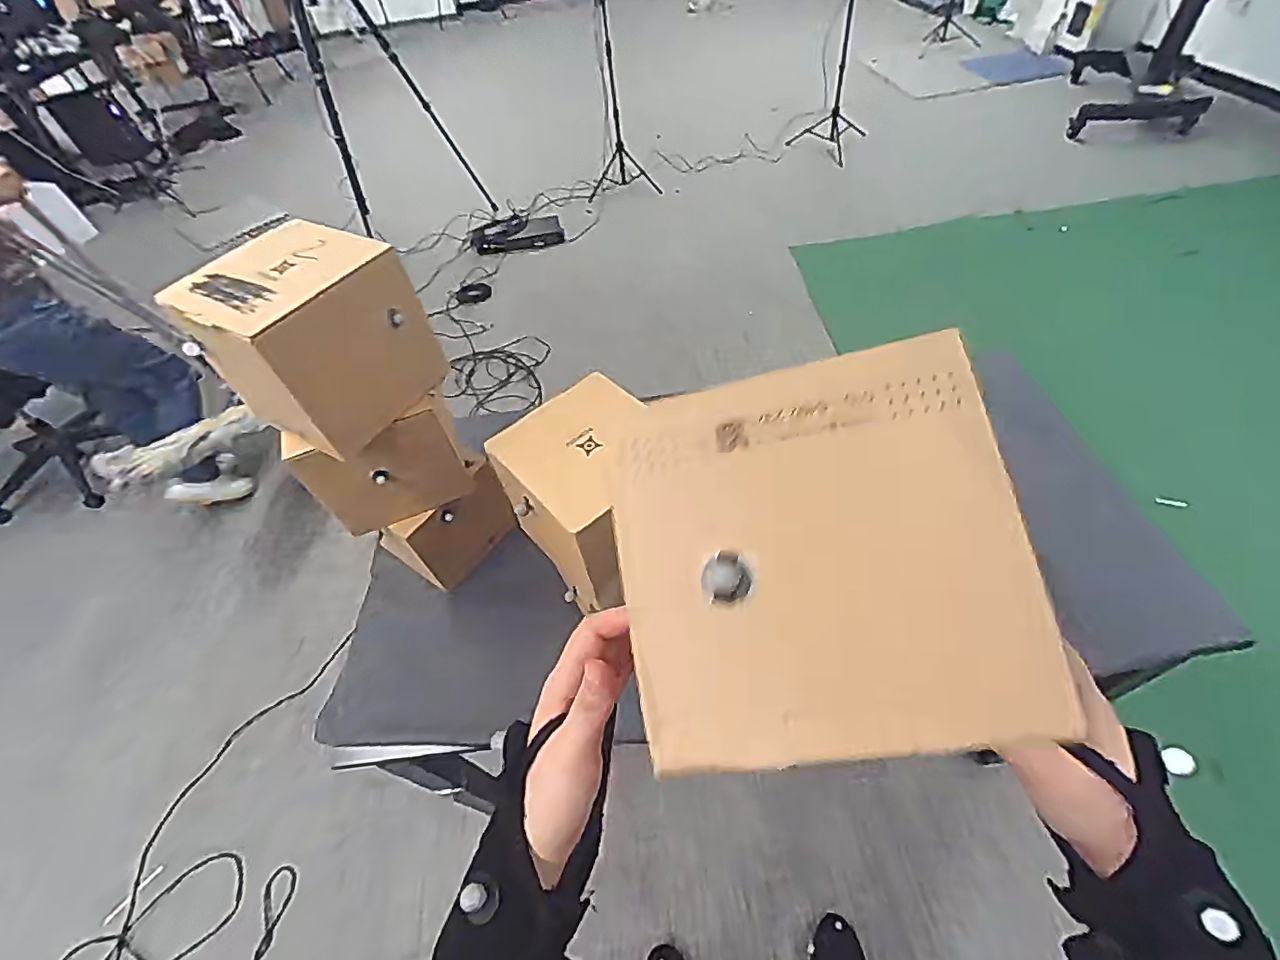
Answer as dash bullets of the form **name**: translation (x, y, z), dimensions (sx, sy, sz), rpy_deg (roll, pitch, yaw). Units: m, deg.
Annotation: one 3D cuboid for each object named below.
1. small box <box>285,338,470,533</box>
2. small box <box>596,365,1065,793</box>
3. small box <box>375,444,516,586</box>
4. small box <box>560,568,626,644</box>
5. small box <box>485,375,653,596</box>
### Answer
- **small box**: translation (-0.348, -0.057, 0.740), dimensions (0.179, 0.176, 0.168), rpy_deg (-22, 53, -10)
- **small box**: translation (0.086, 0.048, 0.306), dimensions (0.168, 0.179, 0.176), rpy_deg (-12, 79, 15)
- **small box**: translation (-0.331, 0.042, 0.871), dimensions (0.179, 0.176, 0.168), rpy_deg (26, 59, 25)
- **small box**: translation (-0.025, 0.110, 0.772), dimensions (0.168, 0.176, 0.179), rpy_deg (-27, 52, -15)
- **small box**: translation (-0.047, 0.014, 0.643), dimensions (0.168, 0.176, 0.179), rpy_deg (-37, 55, -21)
